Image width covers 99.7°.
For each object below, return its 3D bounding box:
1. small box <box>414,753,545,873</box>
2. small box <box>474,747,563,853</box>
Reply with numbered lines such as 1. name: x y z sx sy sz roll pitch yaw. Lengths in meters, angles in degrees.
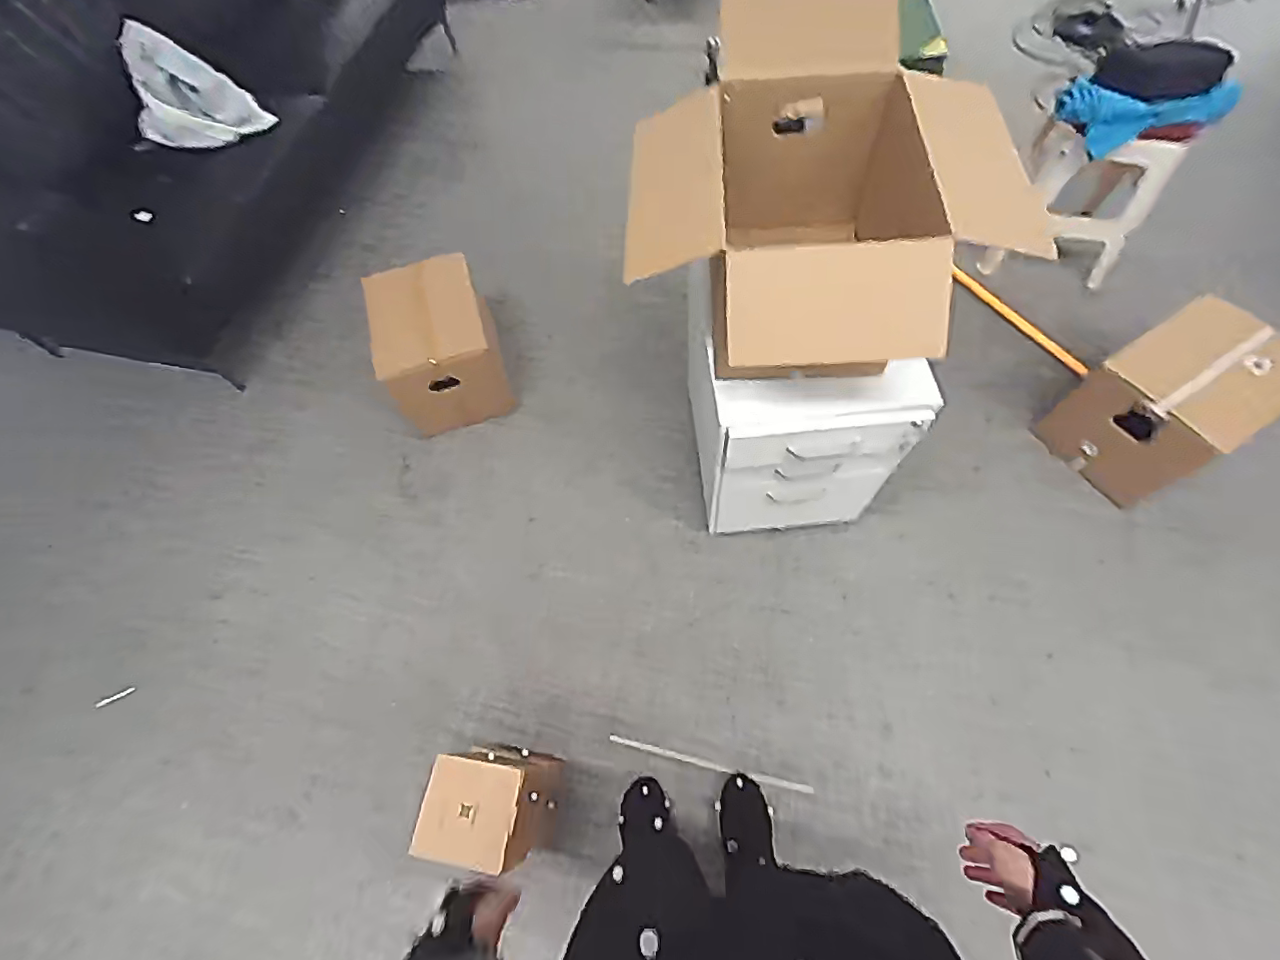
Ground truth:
1. small box: -0.299 0.639 1.056 0.179 0.176 0.168 5 63 10
2. small box: -0.284 0.702 1.205 0.179 0.176 0.168 9 64 9
